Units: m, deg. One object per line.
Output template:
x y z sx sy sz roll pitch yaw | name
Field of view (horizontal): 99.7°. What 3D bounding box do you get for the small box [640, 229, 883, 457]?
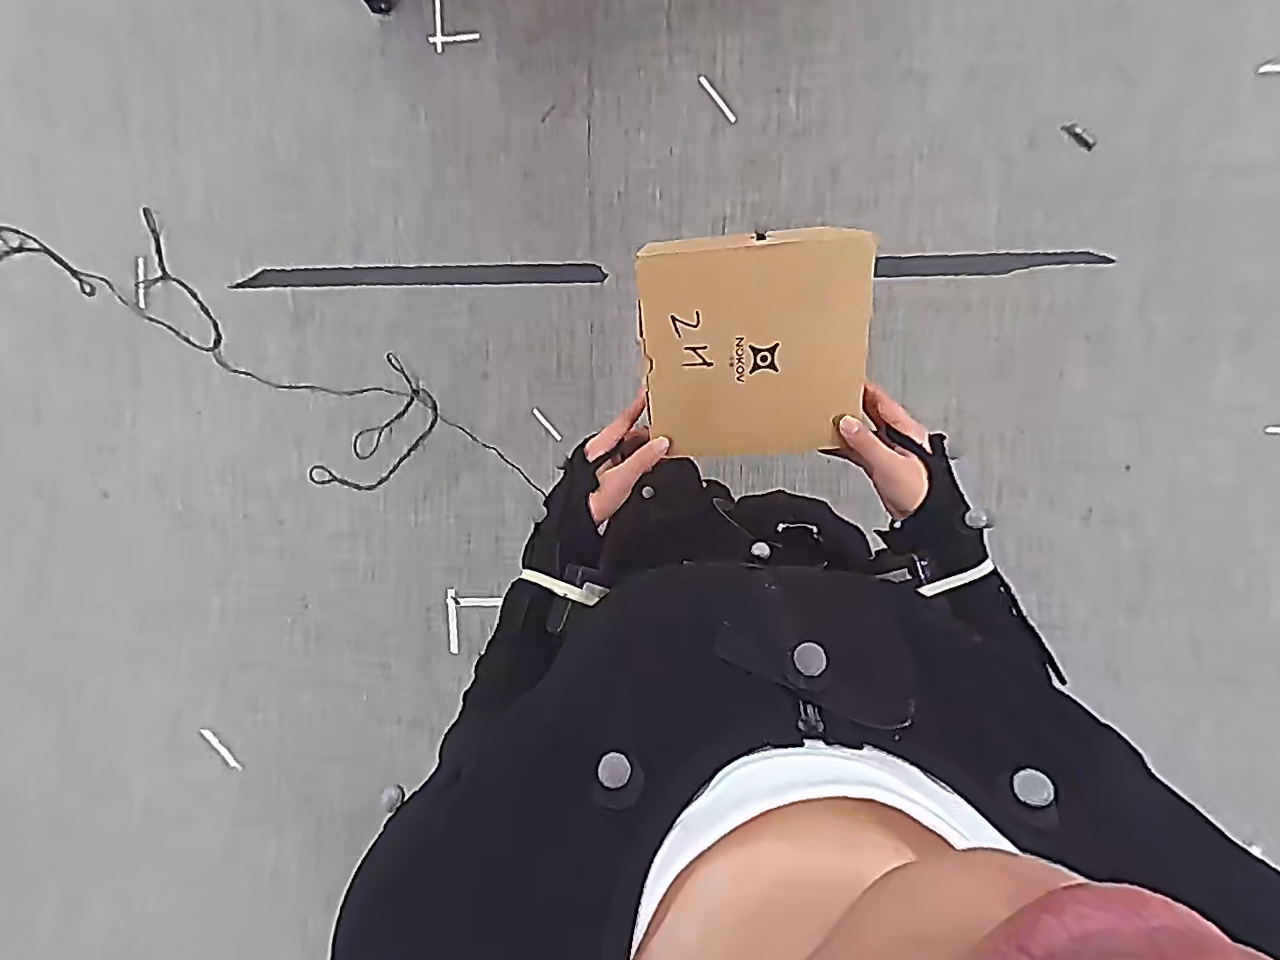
0.096 -0.131 0.493 0.179 0.176 0.168 -2 116 6 | small box
